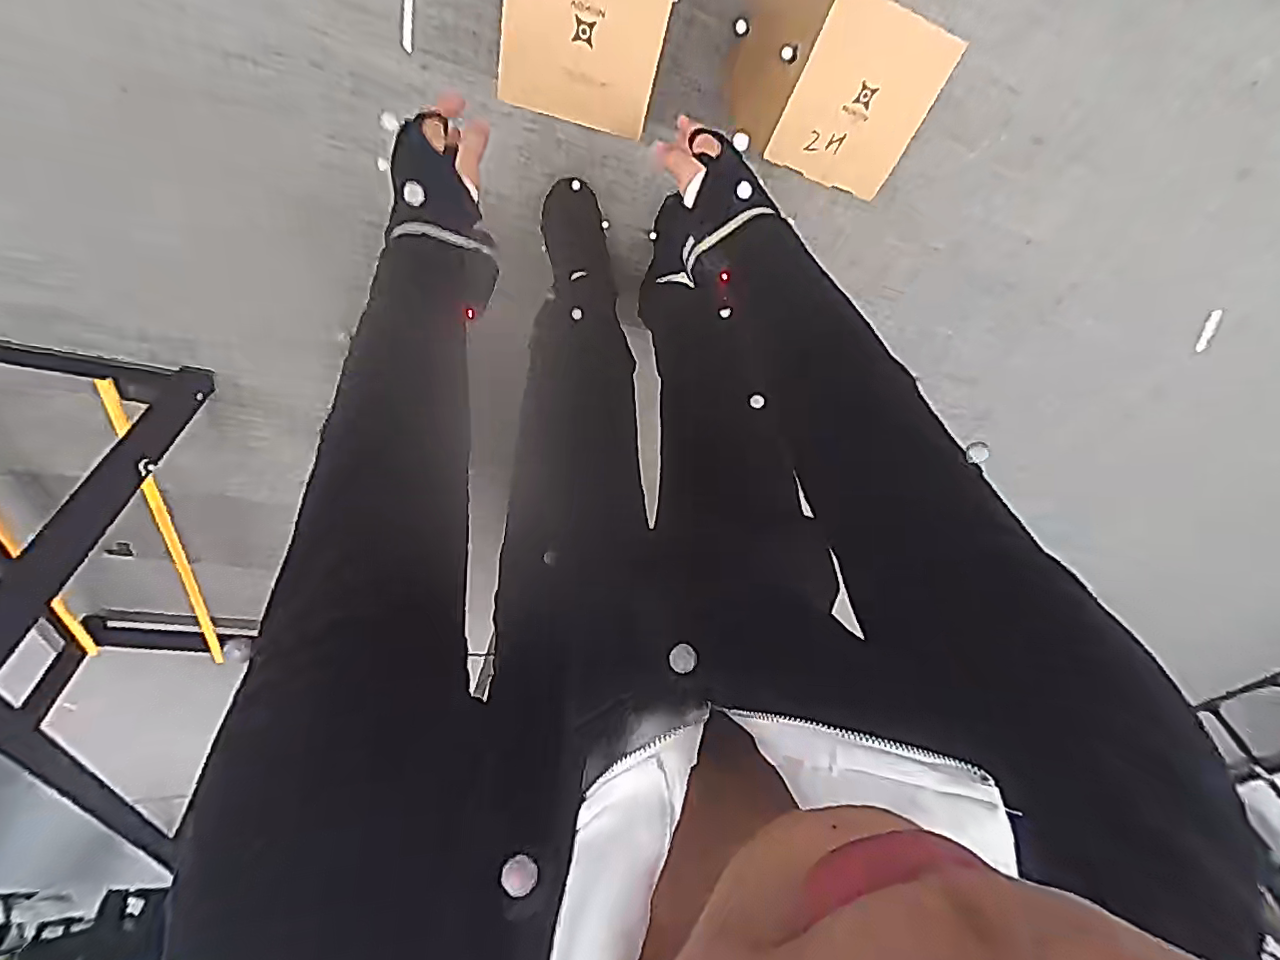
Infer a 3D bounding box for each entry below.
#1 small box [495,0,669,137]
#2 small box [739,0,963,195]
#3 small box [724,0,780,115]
[{"bbox_3d":[-0.064,-0.526,0.606,0.168,0.176,0.179,8,136,-12],"label":"small box"},{"bbox_3d":[0.241,-0.497,0.671,0.168,0.176,0.179,11,135,-17],"label":"small box"},{"bbox_3d":[0.232,-0.622,0.781,0.168,0.176,0.179,9,135,-16],"label":"small box"}]
